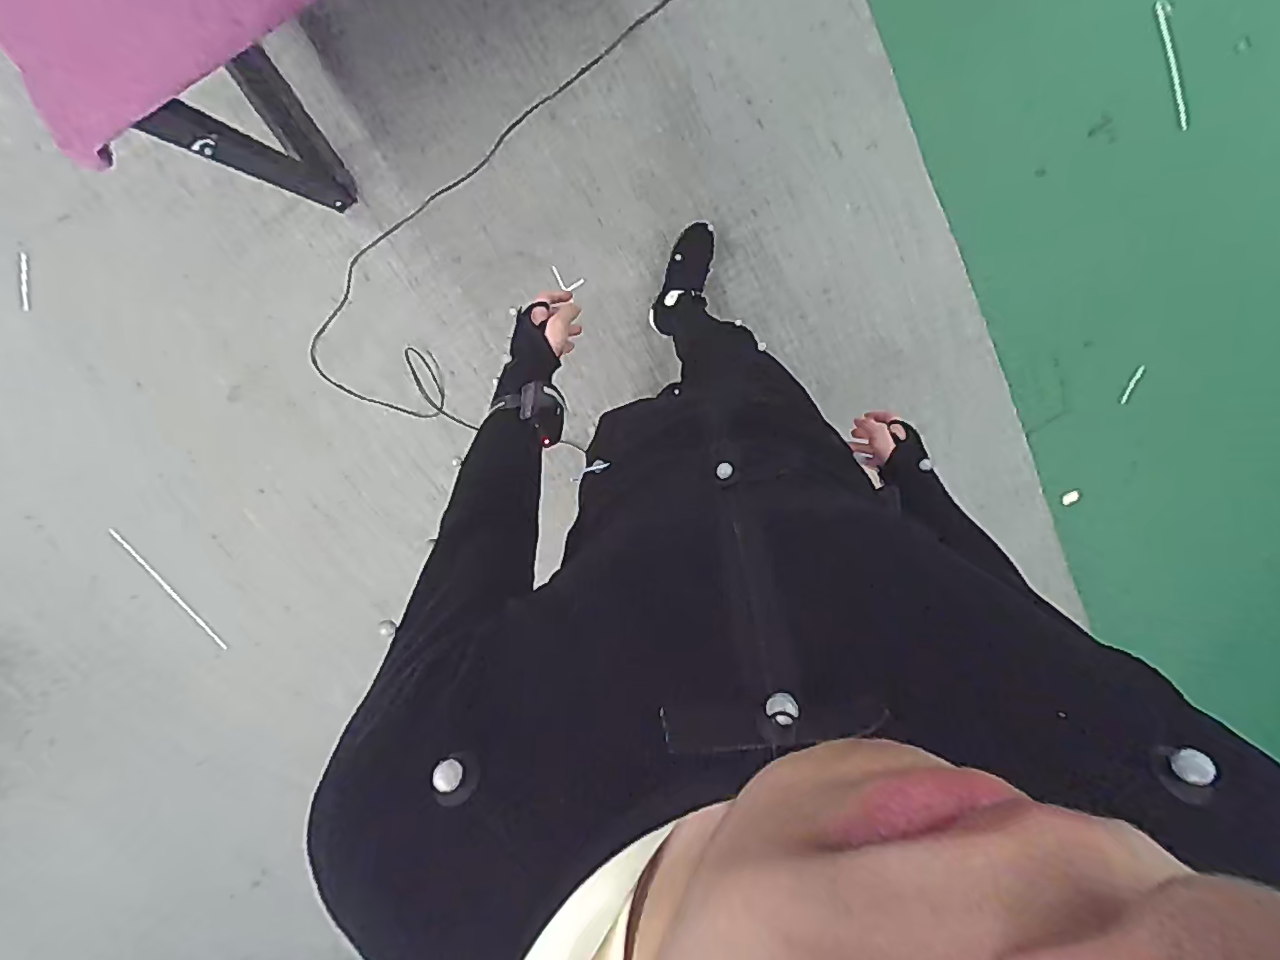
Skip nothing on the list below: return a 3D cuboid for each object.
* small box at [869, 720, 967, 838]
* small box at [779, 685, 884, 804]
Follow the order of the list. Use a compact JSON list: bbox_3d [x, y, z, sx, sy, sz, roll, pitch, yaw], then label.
[{"bbox_3d":[0.659,0.725,1.334,0.168,0.176,0.179,-24,105,6],"label":"small box"},{"bbox_3d":[0.452,0.622,1.299,0.168,0.176,0.179,-22,105,4],"label":"small box"}]
